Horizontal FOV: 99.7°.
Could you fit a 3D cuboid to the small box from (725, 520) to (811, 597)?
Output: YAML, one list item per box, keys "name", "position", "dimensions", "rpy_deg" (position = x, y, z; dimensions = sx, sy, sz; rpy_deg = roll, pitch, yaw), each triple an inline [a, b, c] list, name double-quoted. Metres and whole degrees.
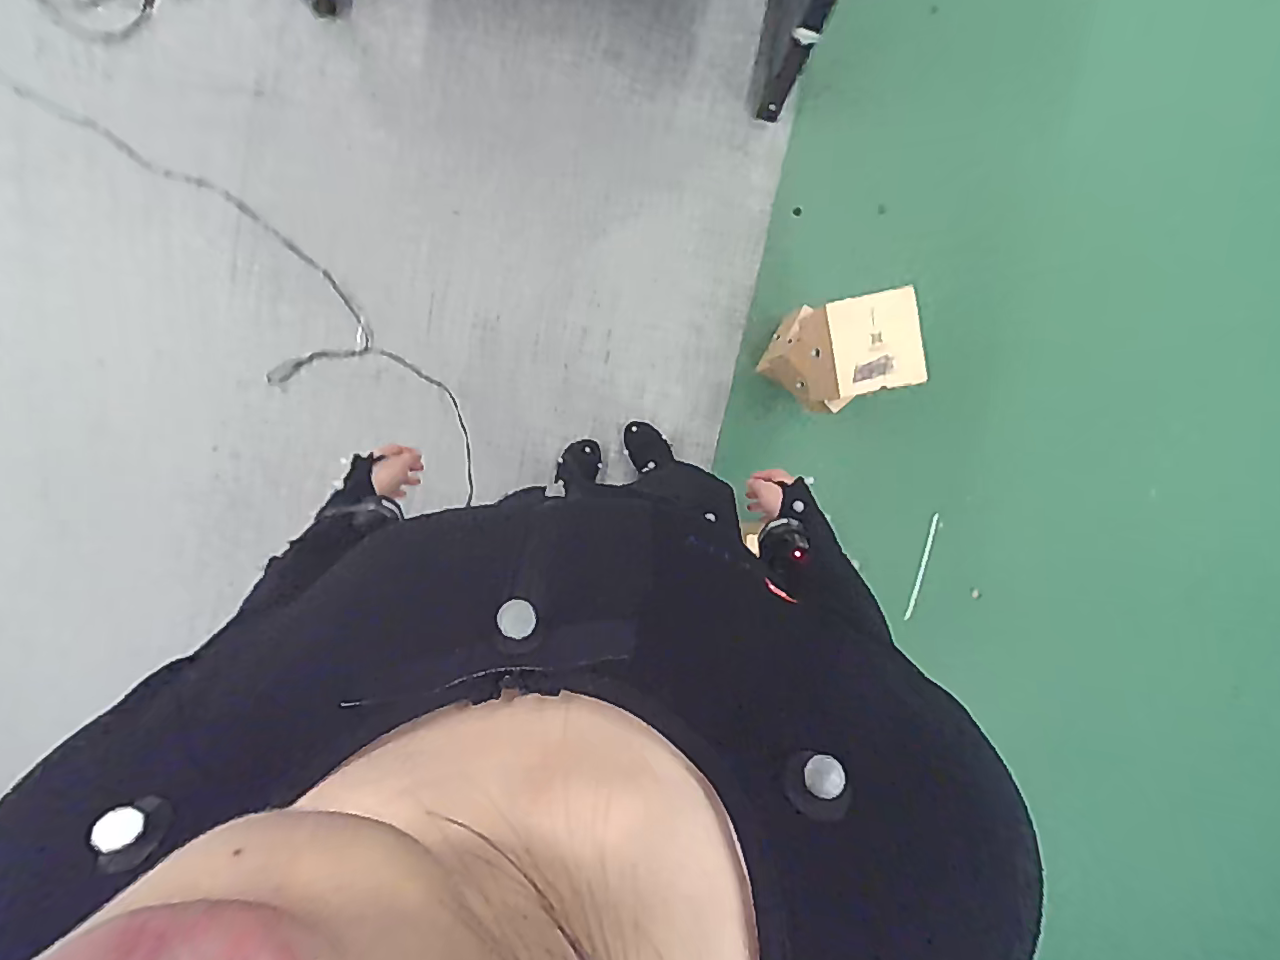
- name: "small box"
  position: [0.335, 0.204, 1.443]
  dimensions: [0.179, 0.176, 0.168]
  rpy_deg: [2, 98, -3]

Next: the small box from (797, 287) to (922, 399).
- name: "small box"
  position: [0.421, -0.258, 1.057]
  dimensions: [0.168, 0.176, 0.179]
  rpy_deg: [-11, 97, 1]

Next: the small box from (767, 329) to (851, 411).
- name: "small box"
  position: [0.413, -0.272, 1.221]
  dimensions: [0.168, 0.176, 0.179]
  rpy_deg: [-41, 98, 5]

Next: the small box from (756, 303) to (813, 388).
- name: "small box"
  position: [0.420, -0.322, 1.378]
  dimensions: [0.179, 0.176, 0.168]
  rpy_deg: [28, 96, -5]
